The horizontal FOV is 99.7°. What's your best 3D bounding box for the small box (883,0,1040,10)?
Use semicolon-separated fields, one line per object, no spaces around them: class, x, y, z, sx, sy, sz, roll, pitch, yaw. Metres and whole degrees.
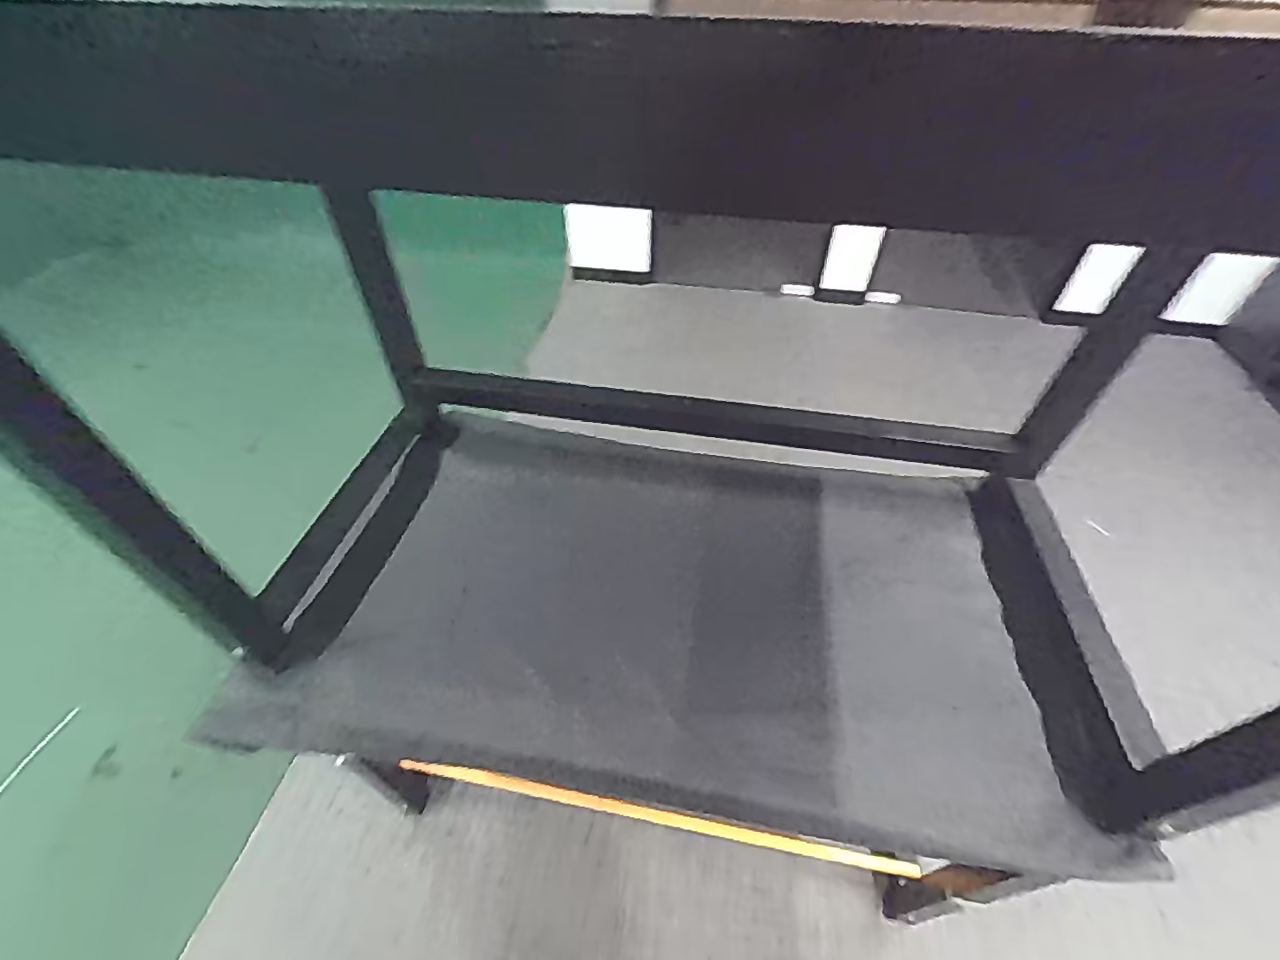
small box;0.111;-0.316;0.223;0.168;0.176;0.179;10;46;9
